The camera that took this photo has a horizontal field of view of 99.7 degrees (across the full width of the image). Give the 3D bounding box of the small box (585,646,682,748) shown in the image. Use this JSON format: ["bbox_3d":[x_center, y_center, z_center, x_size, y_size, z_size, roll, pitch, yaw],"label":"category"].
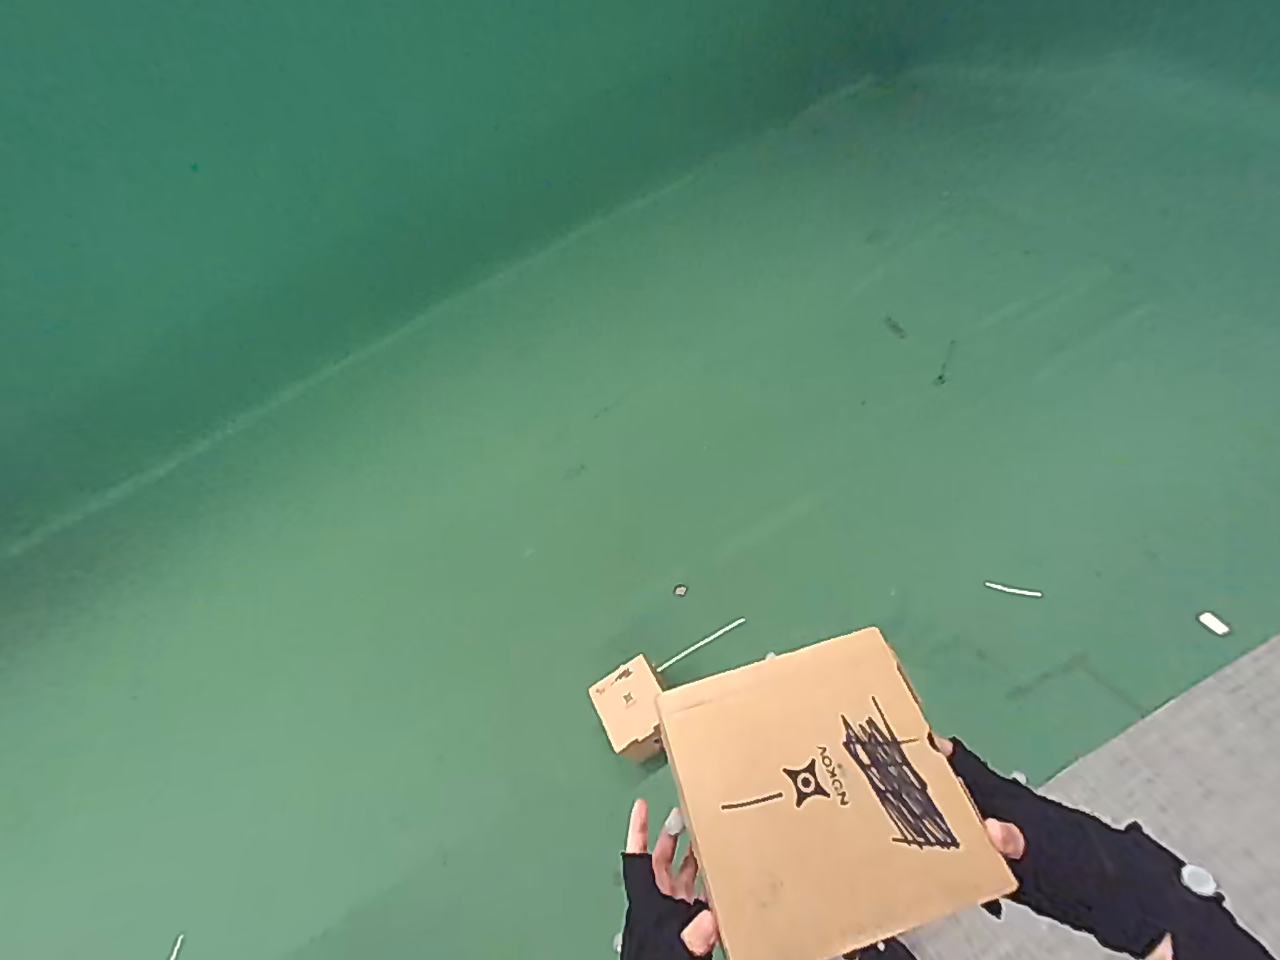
[{"bbox_3d":[-0.011,0.563,1.385,0.168,0.176,0.179,-31,52,-3],"label":"small box"}]
